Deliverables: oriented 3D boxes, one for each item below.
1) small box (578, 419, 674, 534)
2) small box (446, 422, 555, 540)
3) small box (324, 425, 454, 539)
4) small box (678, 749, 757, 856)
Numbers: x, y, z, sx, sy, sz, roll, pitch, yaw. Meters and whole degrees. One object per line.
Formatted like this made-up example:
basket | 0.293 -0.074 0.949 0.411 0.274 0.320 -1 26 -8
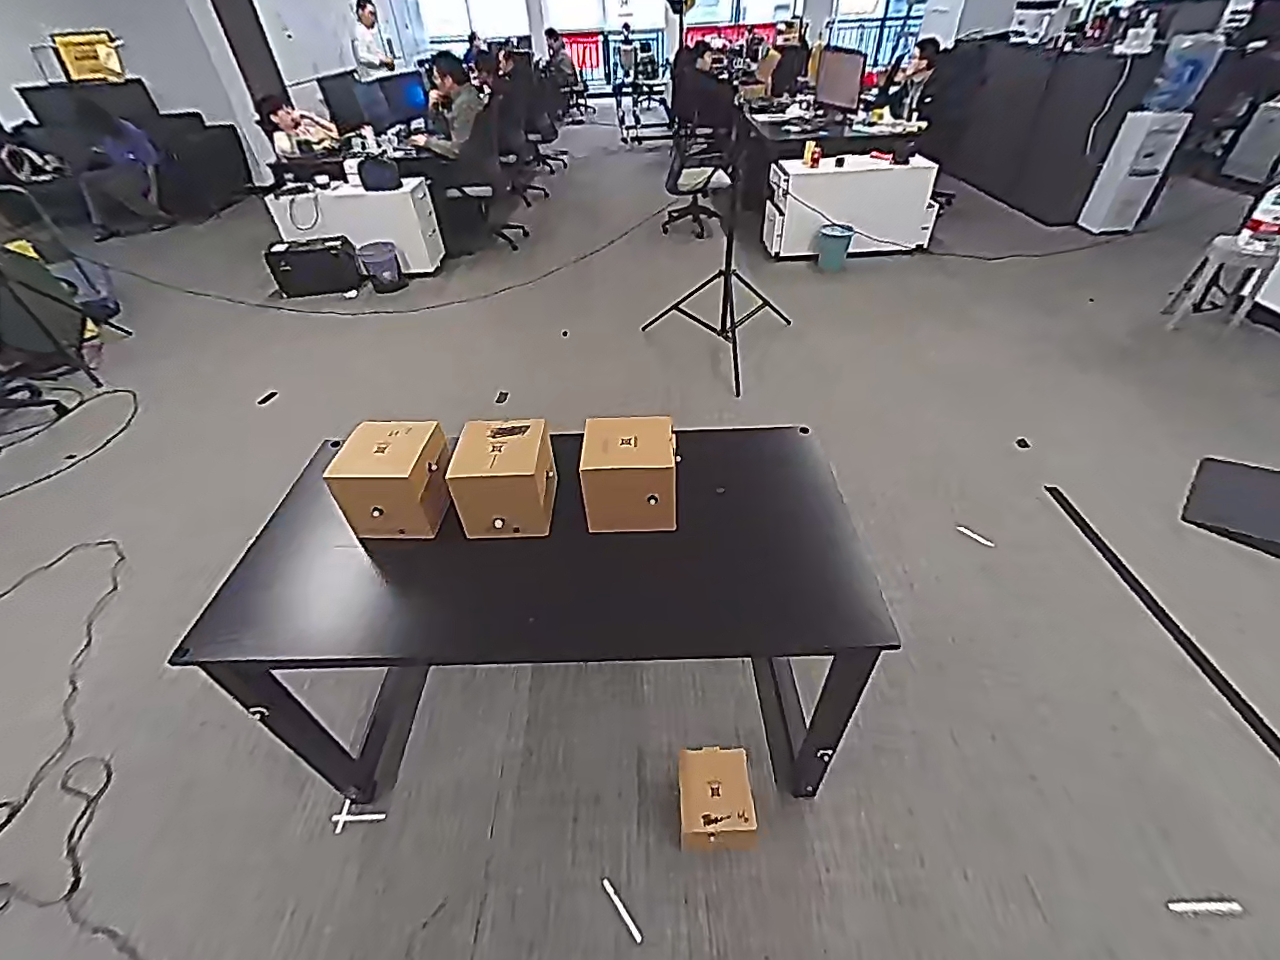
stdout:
small box | -0.021 -0.006 1.088 0.179 0.176 0.168 -3 40 2
small box | -0.270 0.001 1.093 0.168 0.176 0.179 -2 42 1
small box | -0.494 0.006 1.101 0.168 0.176 0.179 0 41 3
small box | 0.176 0.769 1.292 0.168 0.176 0.179 -3 41 1
